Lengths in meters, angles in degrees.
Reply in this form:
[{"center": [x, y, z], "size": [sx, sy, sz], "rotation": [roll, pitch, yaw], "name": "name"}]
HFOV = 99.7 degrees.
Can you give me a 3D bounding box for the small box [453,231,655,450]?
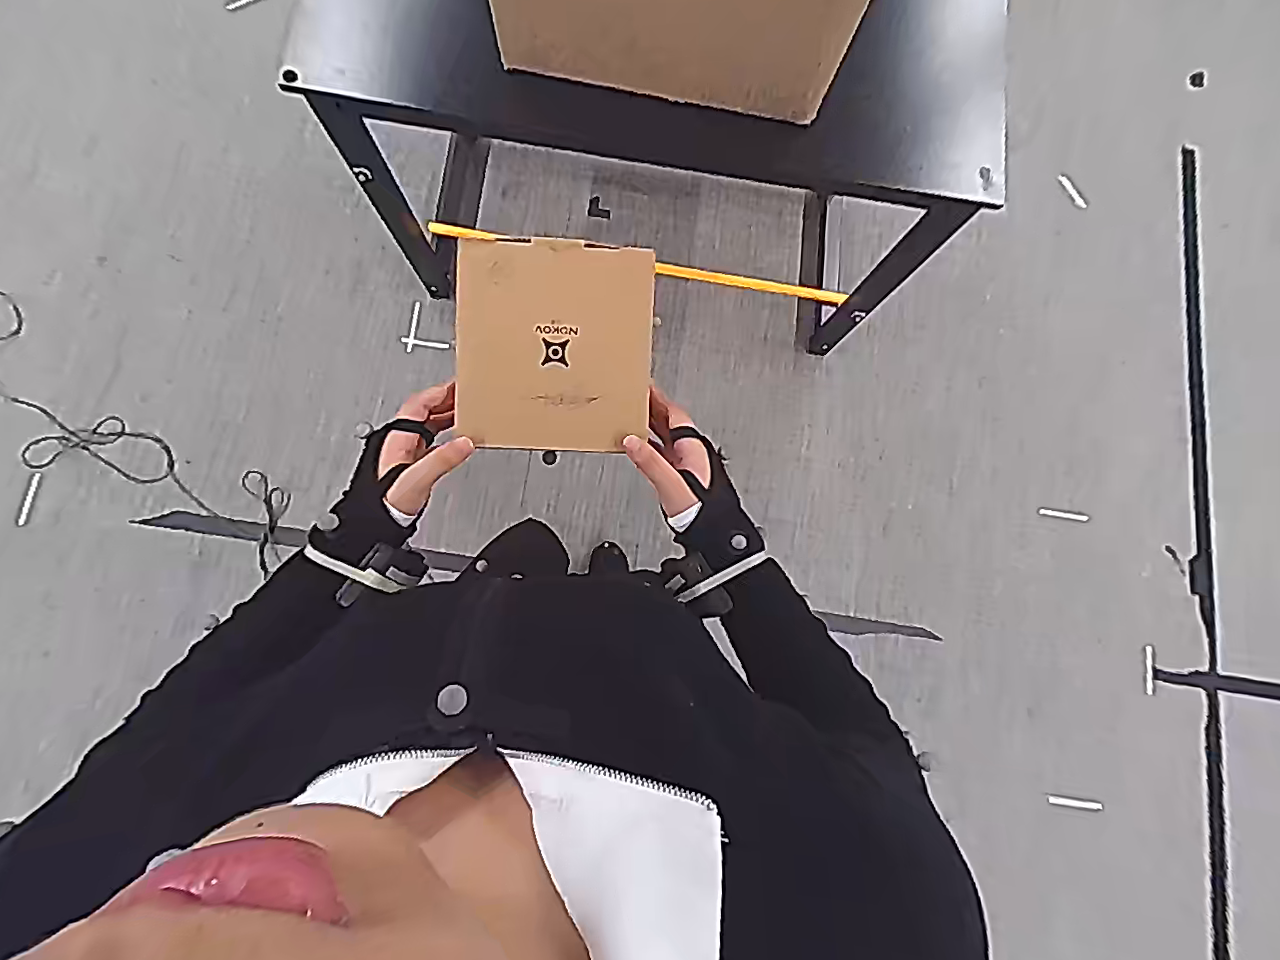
[{"center": [-0.080, -0.121, 0.535], "size": [0.168, 0.176, 0.179], "rotation": [2, 94, -5], "name": "small box"}]
